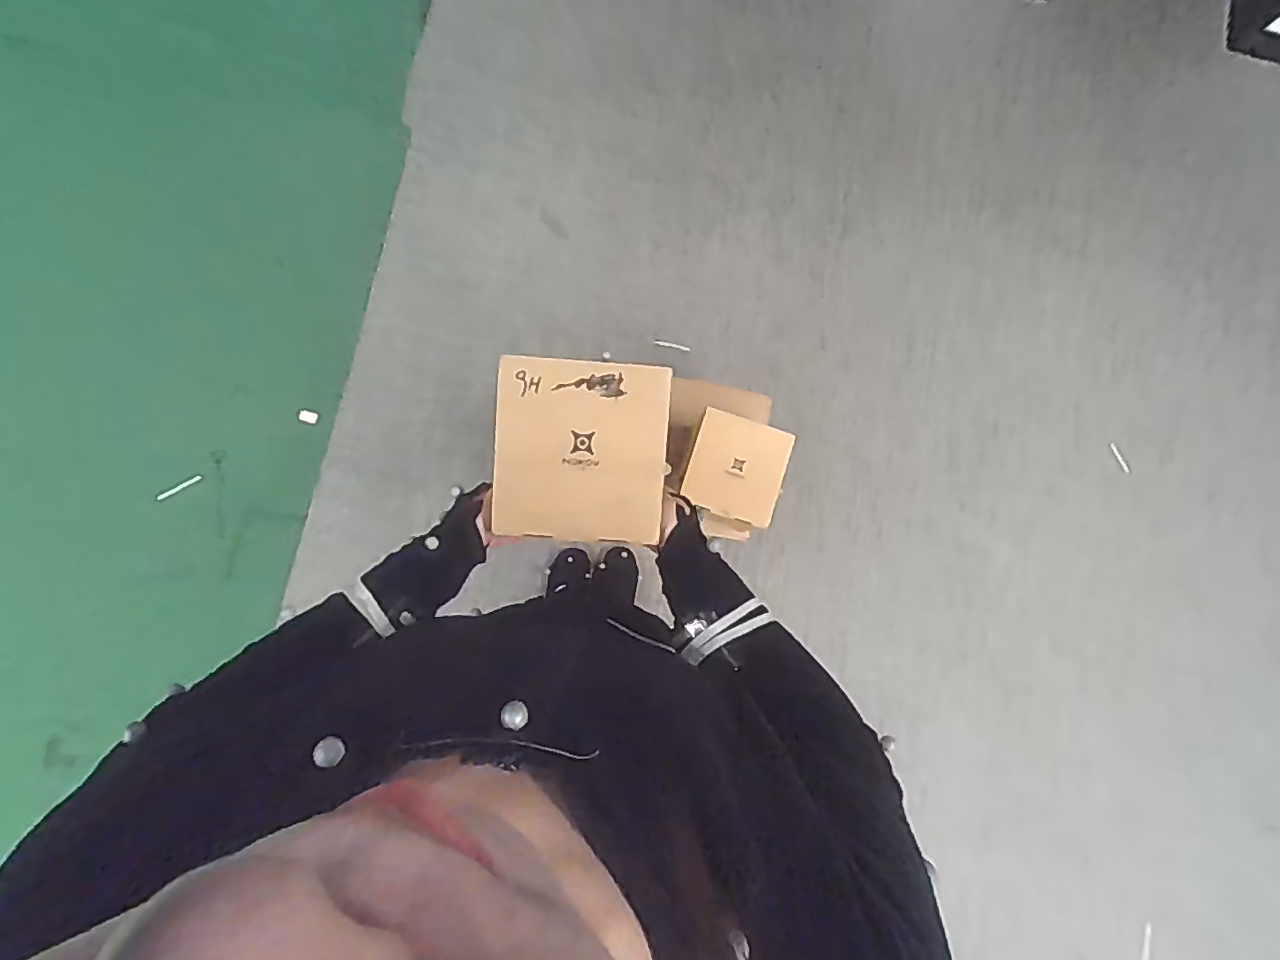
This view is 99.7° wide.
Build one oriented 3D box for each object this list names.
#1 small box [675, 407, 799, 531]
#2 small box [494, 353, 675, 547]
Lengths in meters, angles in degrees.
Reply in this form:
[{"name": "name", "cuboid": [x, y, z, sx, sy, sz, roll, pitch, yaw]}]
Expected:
[{"name": "small box", "cuboid": [0.169, -0.013, 1.005, 0.168, 0.176, 0.179, 18, 84, -1]}, {"name": "small box", "cuboid": [-0.057, -0.036, 0.594, 0.168, 0.176, 0.179, 4, 96, -3]}]
